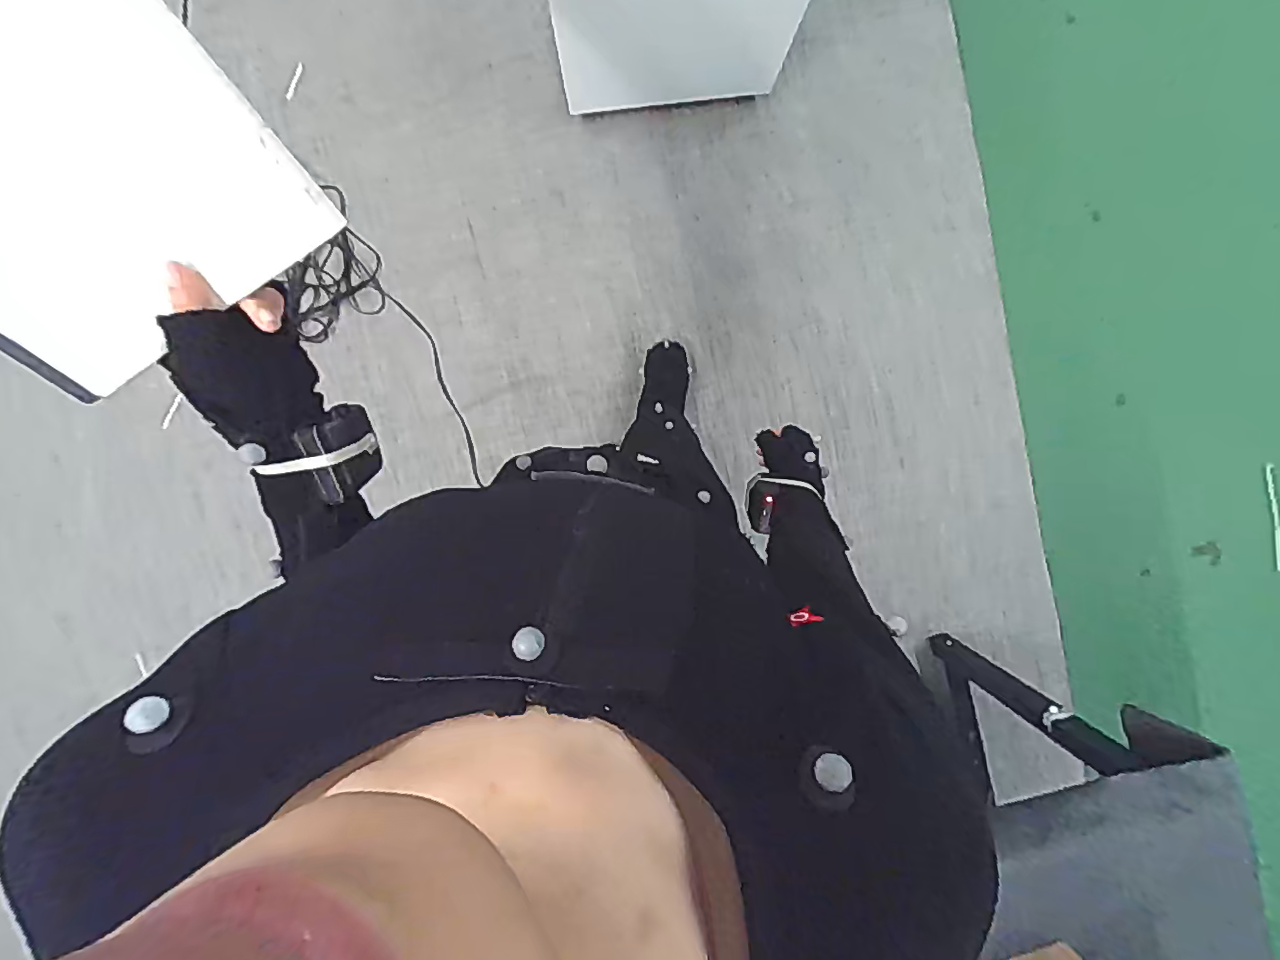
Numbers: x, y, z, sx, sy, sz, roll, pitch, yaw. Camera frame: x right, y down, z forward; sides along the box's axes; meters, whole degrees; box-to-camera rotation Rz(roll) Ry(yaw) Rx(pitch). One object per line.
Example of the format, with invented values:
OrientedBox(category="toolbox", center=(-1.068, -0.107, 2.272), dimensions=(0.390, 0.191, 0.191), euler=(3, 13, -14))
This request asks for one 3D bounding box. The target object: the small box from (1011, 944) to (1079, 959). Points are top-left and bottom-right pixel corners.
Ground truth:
OrientedBox(category="small box", center=(0.605, 0.813, 0.749), dimensions=(0.168, 0.176, 0.179), euler=(-19, 95, 0))
